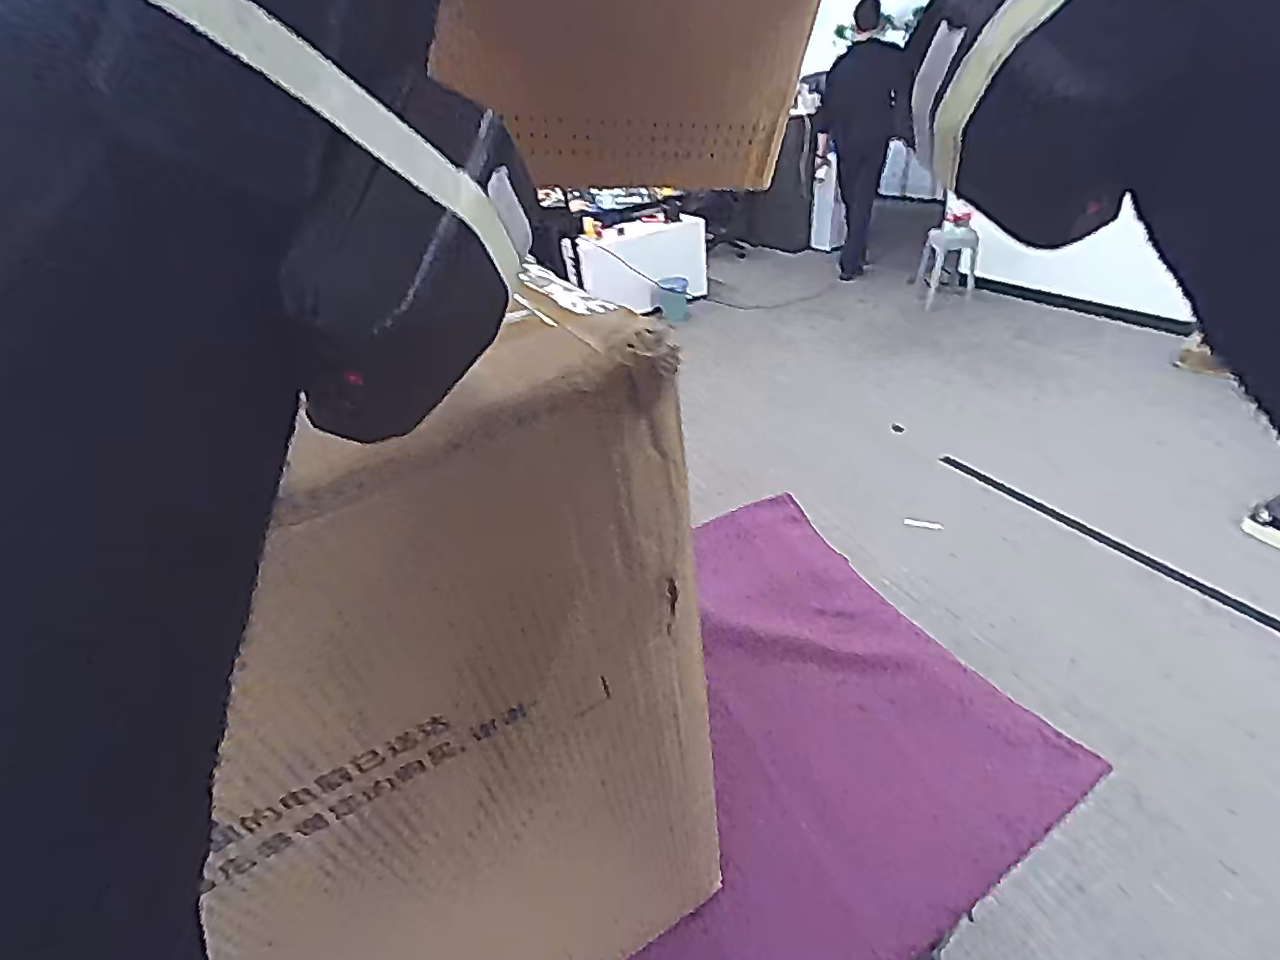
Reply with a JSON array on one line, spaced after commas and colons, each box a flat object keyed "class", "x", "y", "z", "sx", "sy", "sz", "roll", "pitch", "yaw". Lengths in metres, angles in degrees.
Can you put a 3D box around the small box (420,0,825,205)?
[{"class": "small box", "x": -0.018, "y": -0.254, "z": 0.268, "sx": 0.179, "sy": 0.176, "sz": 0.168, "roll": -8, "pitch": 51, "yaw": -14}]
